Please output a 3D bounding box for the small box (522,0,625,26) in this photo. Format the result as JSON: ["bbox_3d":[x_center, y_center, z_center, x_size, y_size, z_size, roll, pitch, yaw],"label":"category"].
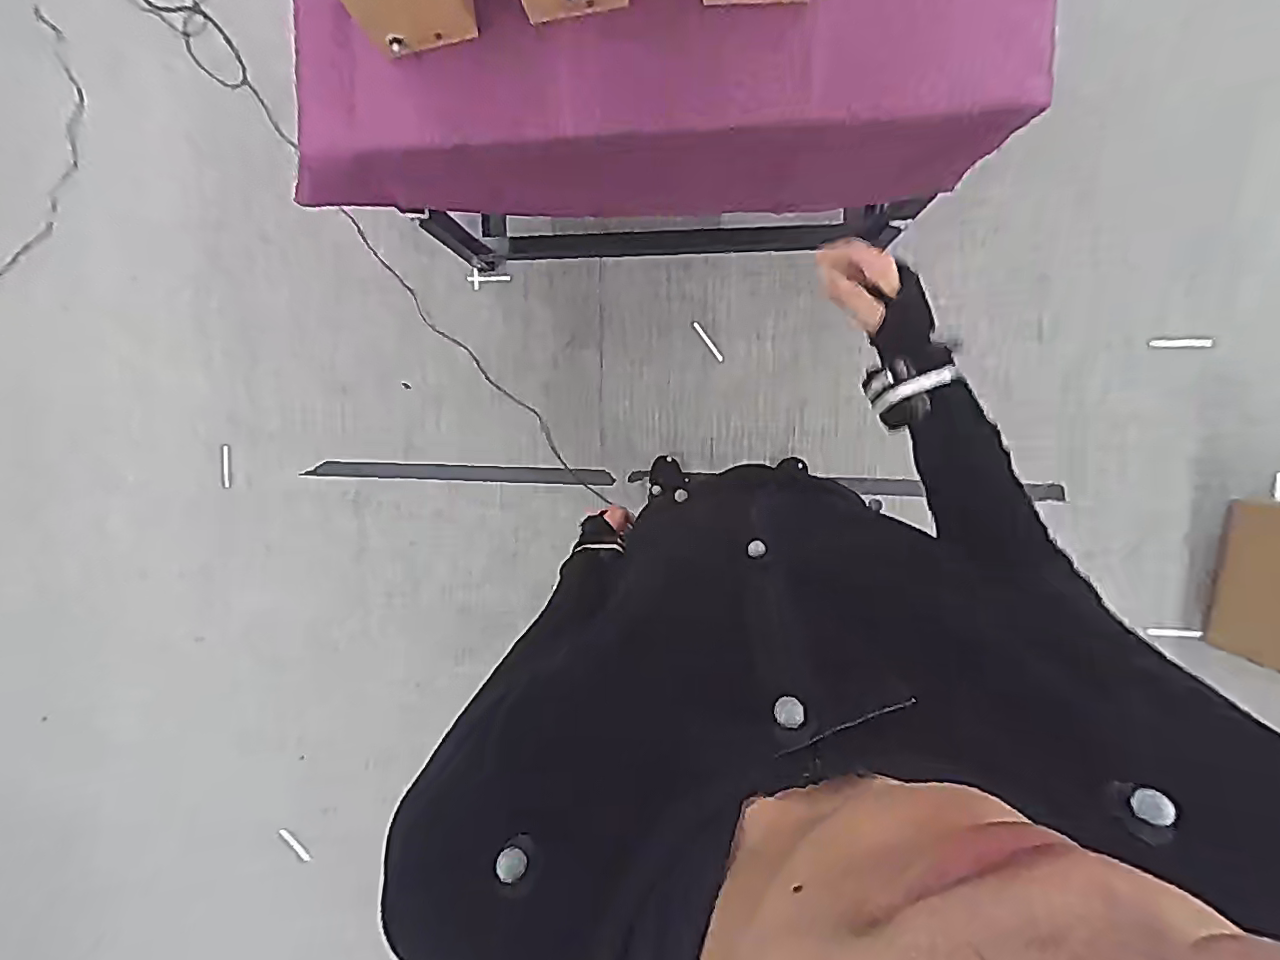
[{"bbox_3d":[-0.117,-0.827,0.792,0.168,0.176,0.179,-4,93,7],"label":"small box"}]

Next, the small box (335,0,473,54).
[{"bbox_3d":[-0.371,-0.796,0.822,0.168,0.176,0.179,-8,92,6],"label":"small box"}]
